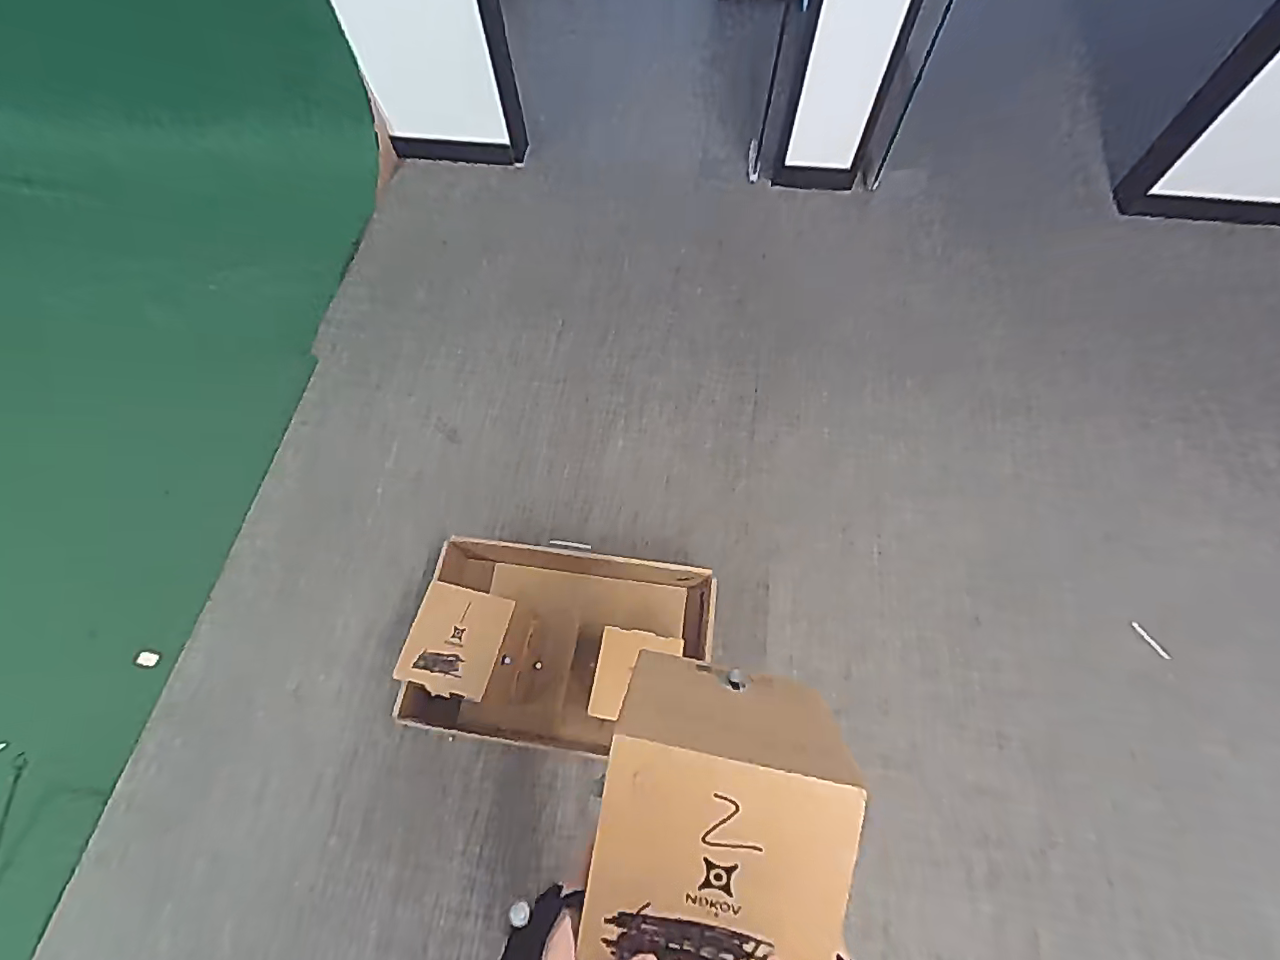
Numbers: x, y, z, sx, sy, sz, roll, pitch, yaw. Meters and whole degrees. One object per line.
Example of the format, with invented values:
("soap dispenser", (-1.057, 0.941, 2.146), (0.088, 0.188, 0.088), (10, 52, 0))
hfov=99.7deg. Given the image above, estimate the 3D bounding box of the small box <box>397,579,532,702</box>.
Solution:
("small box", (-0.315, 0.308, 1.016), (0.168, 0.176, 0.179), (13, 66, 6))
